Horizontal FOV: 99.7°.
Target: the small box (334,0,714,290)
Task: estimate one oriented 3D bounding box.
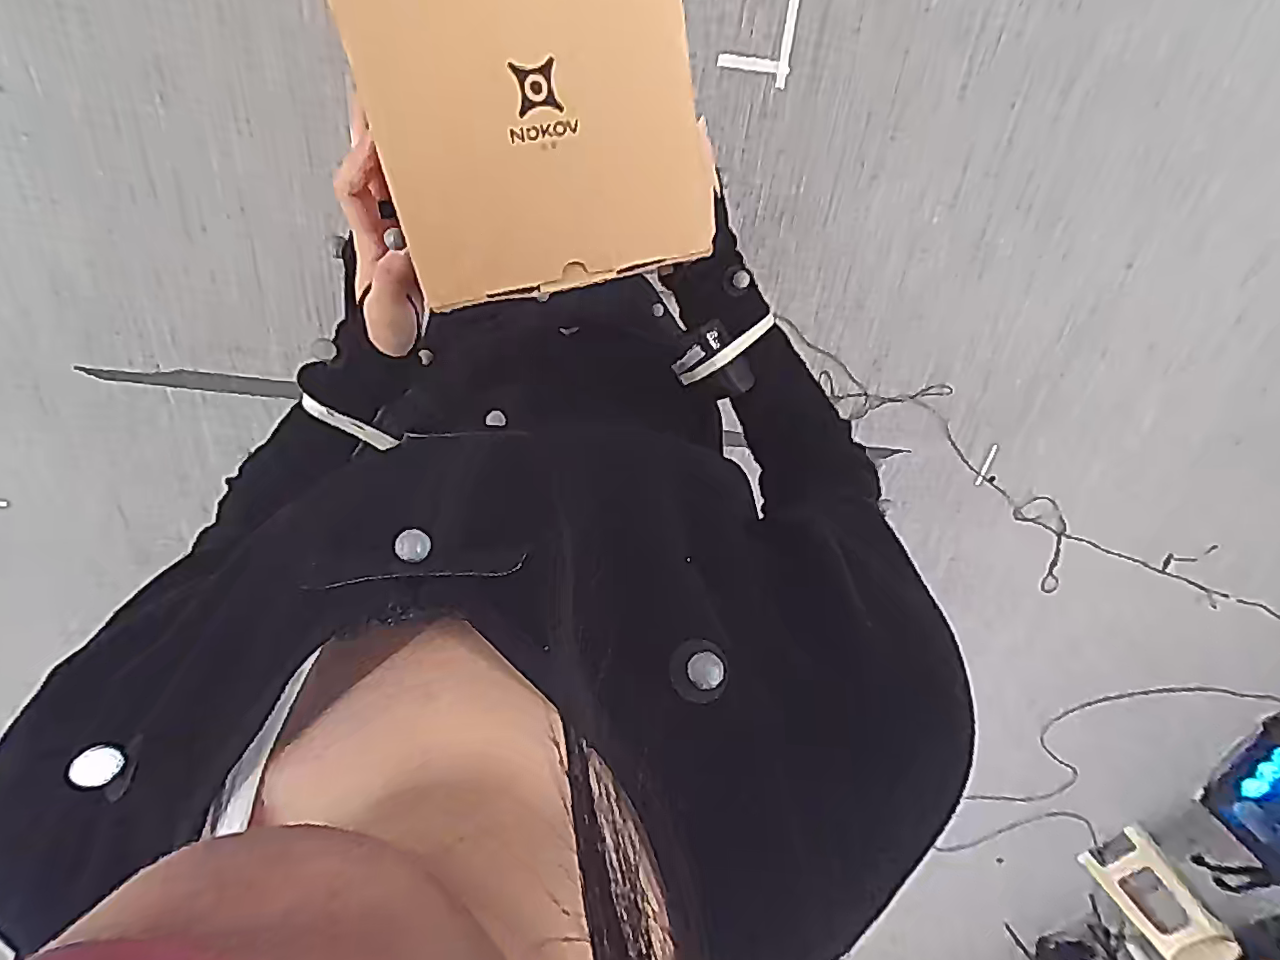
[{"bbox_3d":[-0.070,-0.223,0.332,0.168,0.176,0.179,-16,114,-9],"label":"small box"}]
